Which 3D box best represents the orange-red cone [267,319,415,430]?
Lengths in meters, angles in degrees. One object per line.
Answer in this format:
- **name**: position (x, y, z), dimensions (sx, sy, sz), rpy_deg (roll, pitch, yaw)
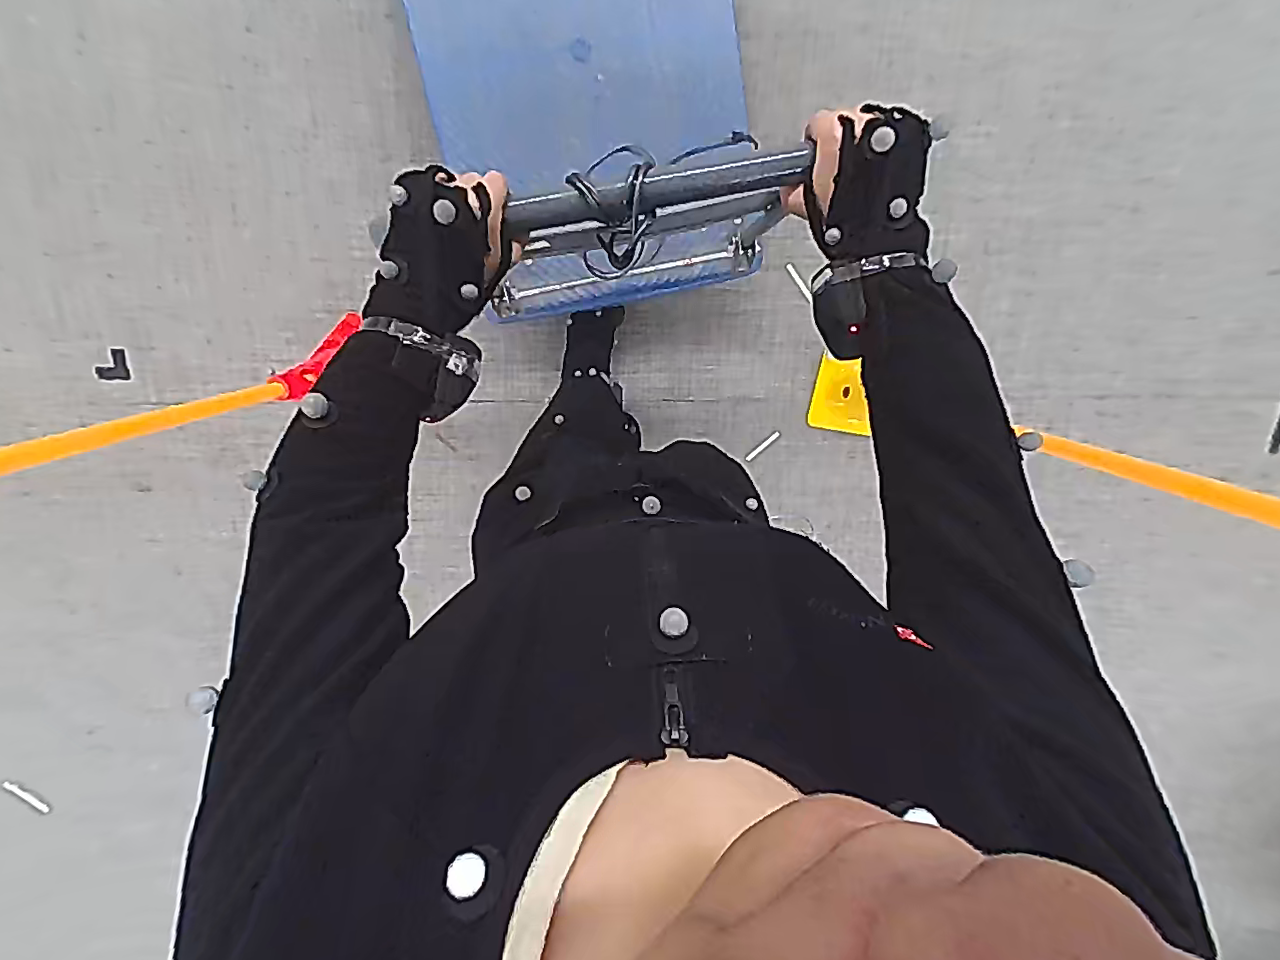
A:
- **orange-red cone**: position (-0.631, -0.195, 1.080), dimensions (0.199, 0.360, 0.198), rpy_deg (-44, 106, 6)
